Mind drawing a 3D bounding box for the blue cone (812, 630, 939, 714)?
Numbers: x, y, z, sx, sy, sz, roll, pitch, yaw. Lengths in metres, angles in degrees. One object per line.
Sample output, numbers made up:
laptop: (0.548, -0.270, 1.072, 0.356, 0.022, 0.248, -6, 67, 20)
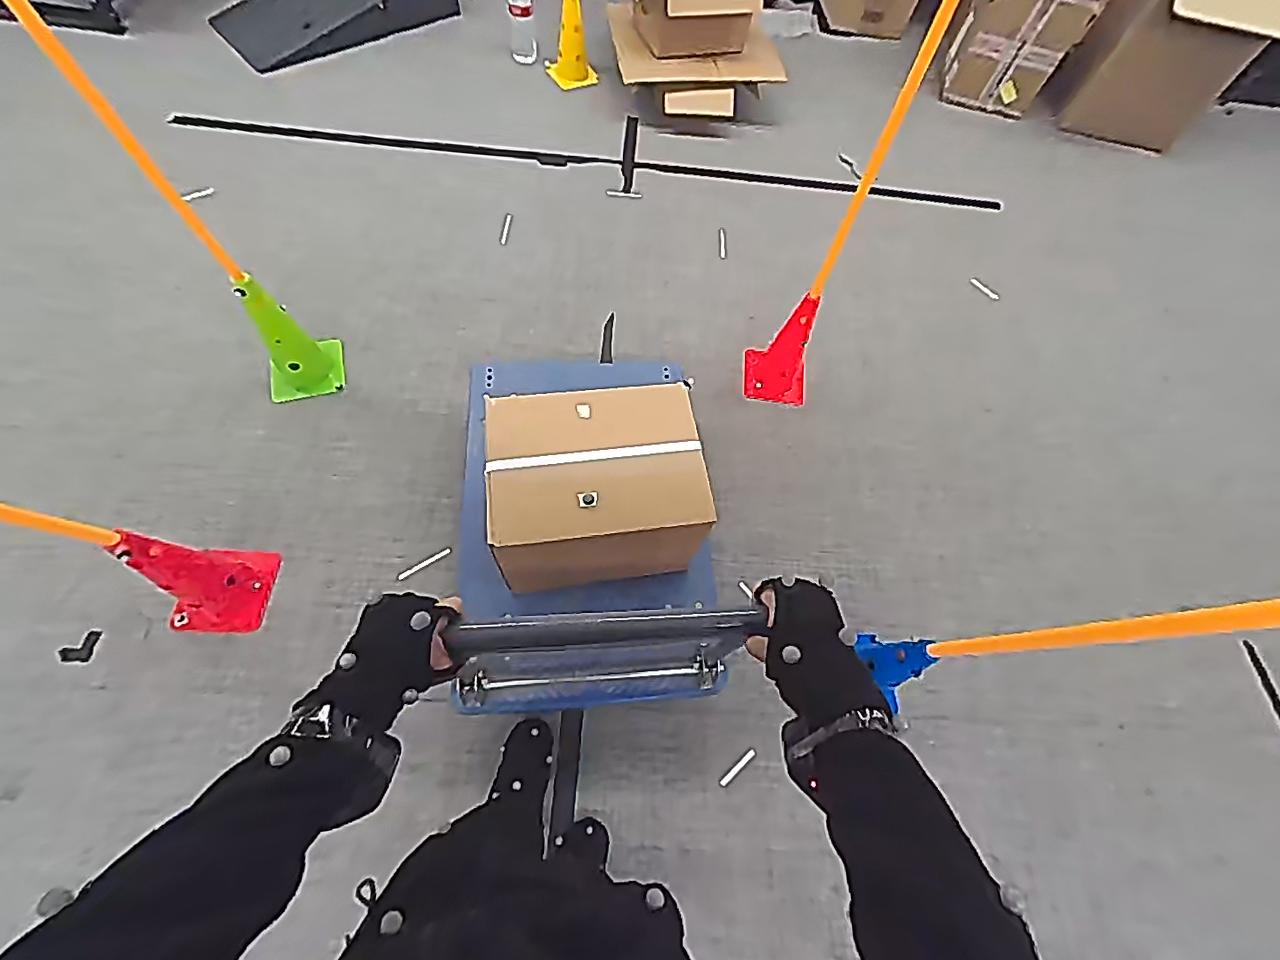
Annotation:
blue cone: (0.550, 0.405, 1.209, 0.193, 0.380, 0.192, 1, 62, -6)

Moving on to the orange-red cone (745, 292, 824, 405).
orange-red cone: (0.460, -0.413, 1.600, 0.199, 0.360, 0.198, 11, 63, -1)
